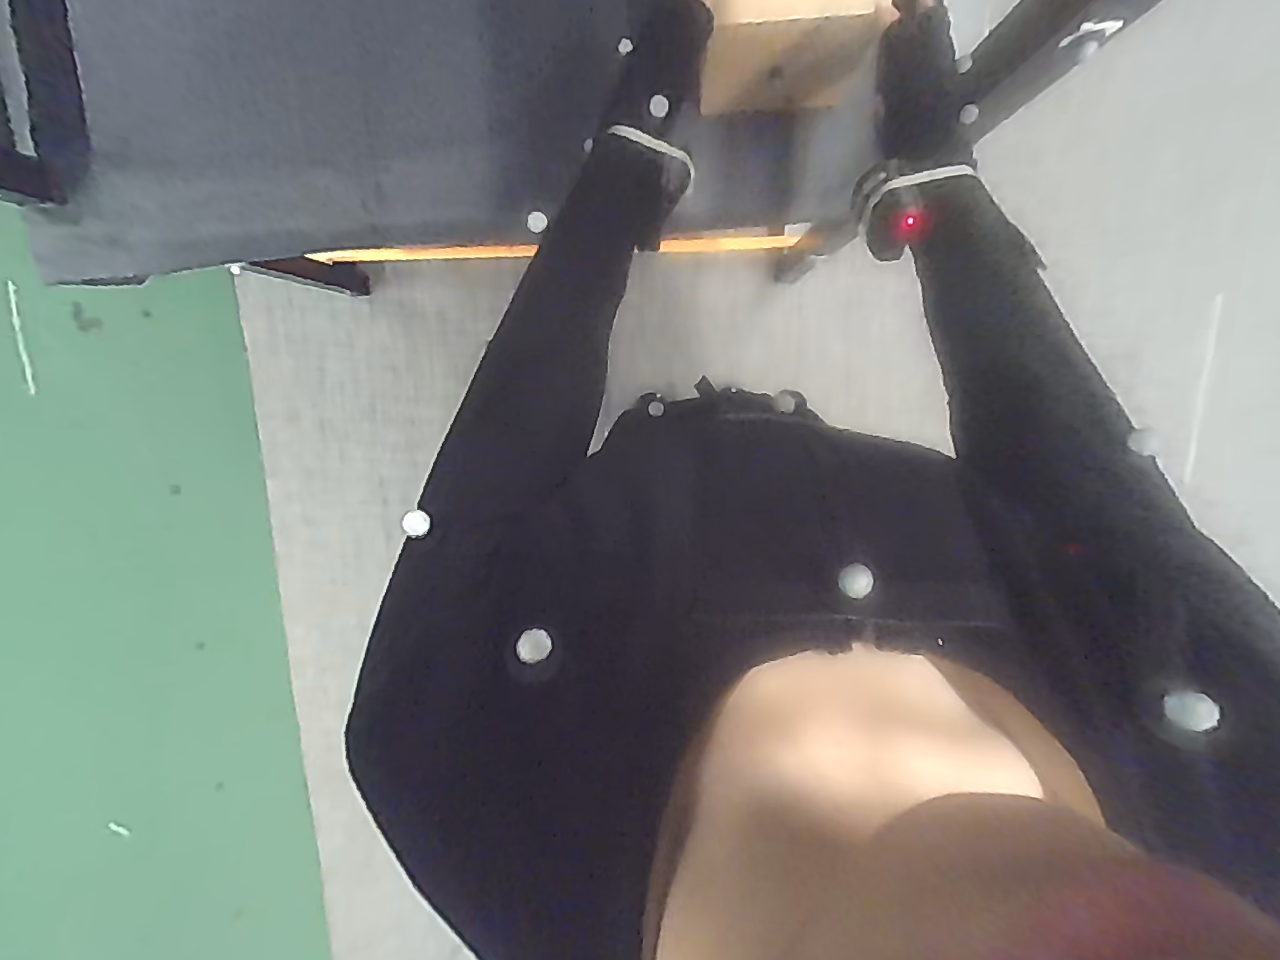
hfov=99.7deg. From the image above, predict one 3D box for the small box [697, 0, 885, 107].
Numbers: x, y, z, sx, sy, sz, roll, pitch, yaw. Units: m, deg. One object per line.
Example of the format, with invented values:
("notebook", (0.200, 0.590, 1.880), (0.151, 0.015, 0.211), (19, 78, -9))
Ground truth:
("small box", (0.147, -0.518, 0.563), (0.168, 0.176, 0.179), (-1, 100, 3))
